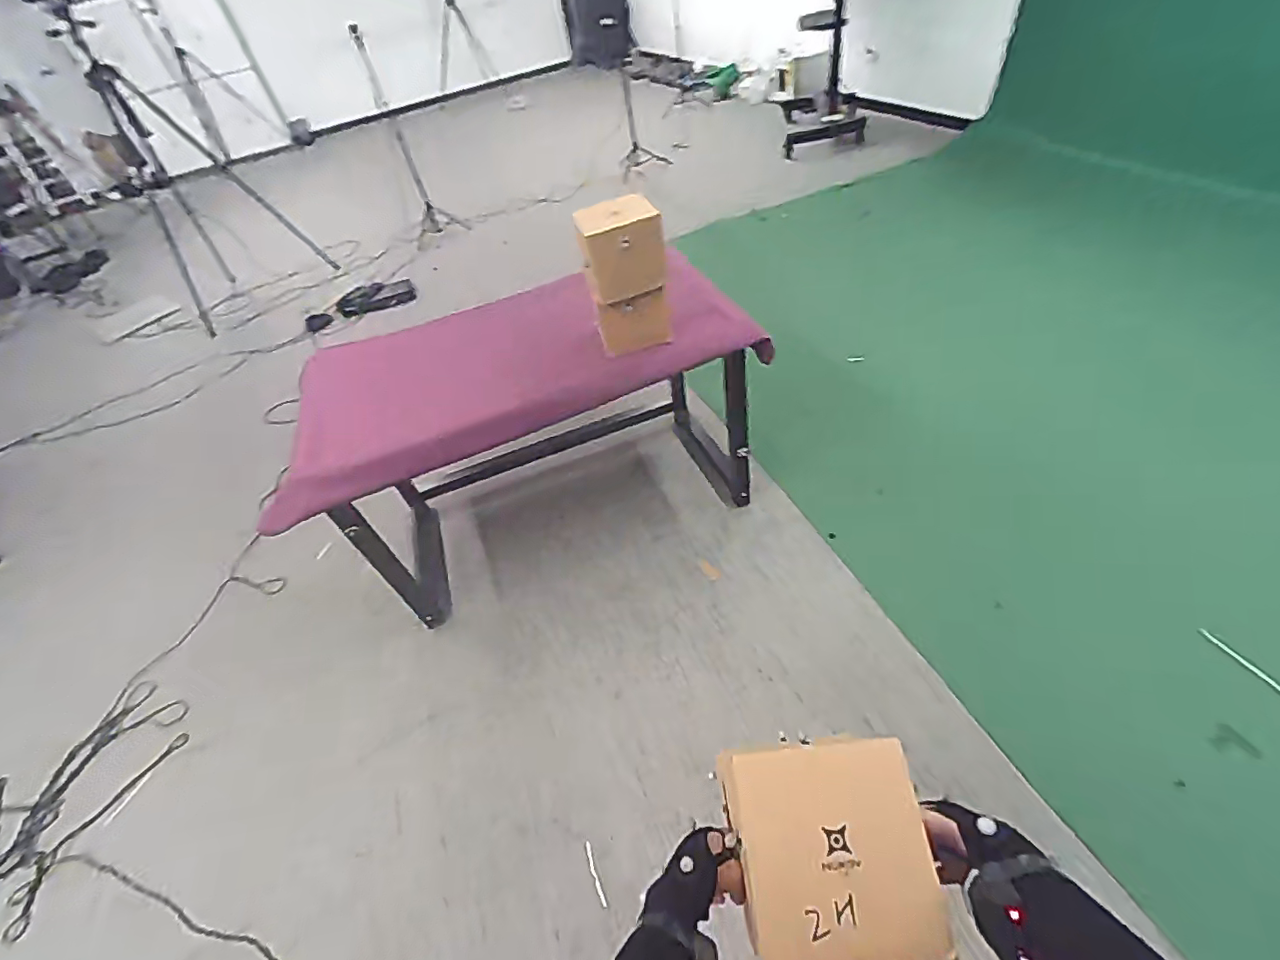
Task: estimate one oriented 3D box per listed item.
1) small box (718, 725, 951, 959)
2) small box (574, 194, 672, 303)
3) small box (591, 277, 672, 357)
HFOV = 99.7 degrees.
[{"bbox_3d":[0.177,0.360,0.561,0.168,0.176,0.179,-6,64,1],"label":"small box"},{"bbox_3d":[-0.038,-0.540,1.271,0.179,0.176,0.168,-19,45,-4],"label":"small box"},{"bbox_3d":[-0.018,-0.447,1.407,0.179,0.176,0.168,-15,44,0],"label":"small box"}]
